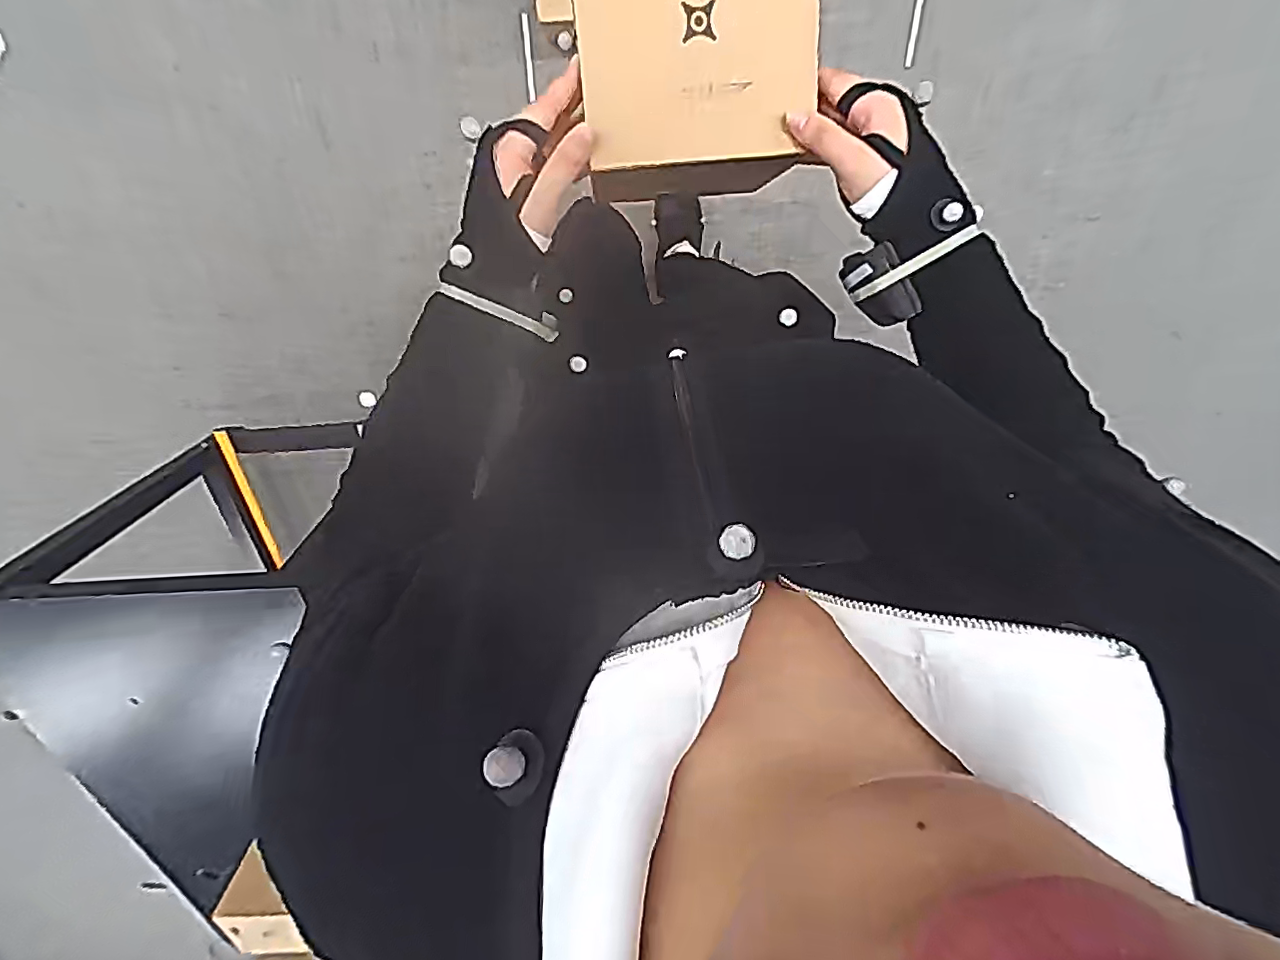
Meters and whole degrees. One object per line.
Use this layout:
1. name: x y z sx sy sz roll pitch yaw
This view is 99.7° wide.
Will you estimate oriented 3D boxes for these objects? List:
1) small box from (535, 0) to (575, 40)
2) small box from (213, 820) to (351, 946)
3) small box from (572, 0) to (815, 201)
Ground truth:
1. small box: -0.105 -0.933 0.996 0.179 0.176 0.168 -3 120 0
2. small box: -0.747 0.856 1.158 0.179 0.176 0.168 -2 120 -2
3. small box: 0.032 -0.341 0.440 0.168 0.176 0.179 -5 110 -2
